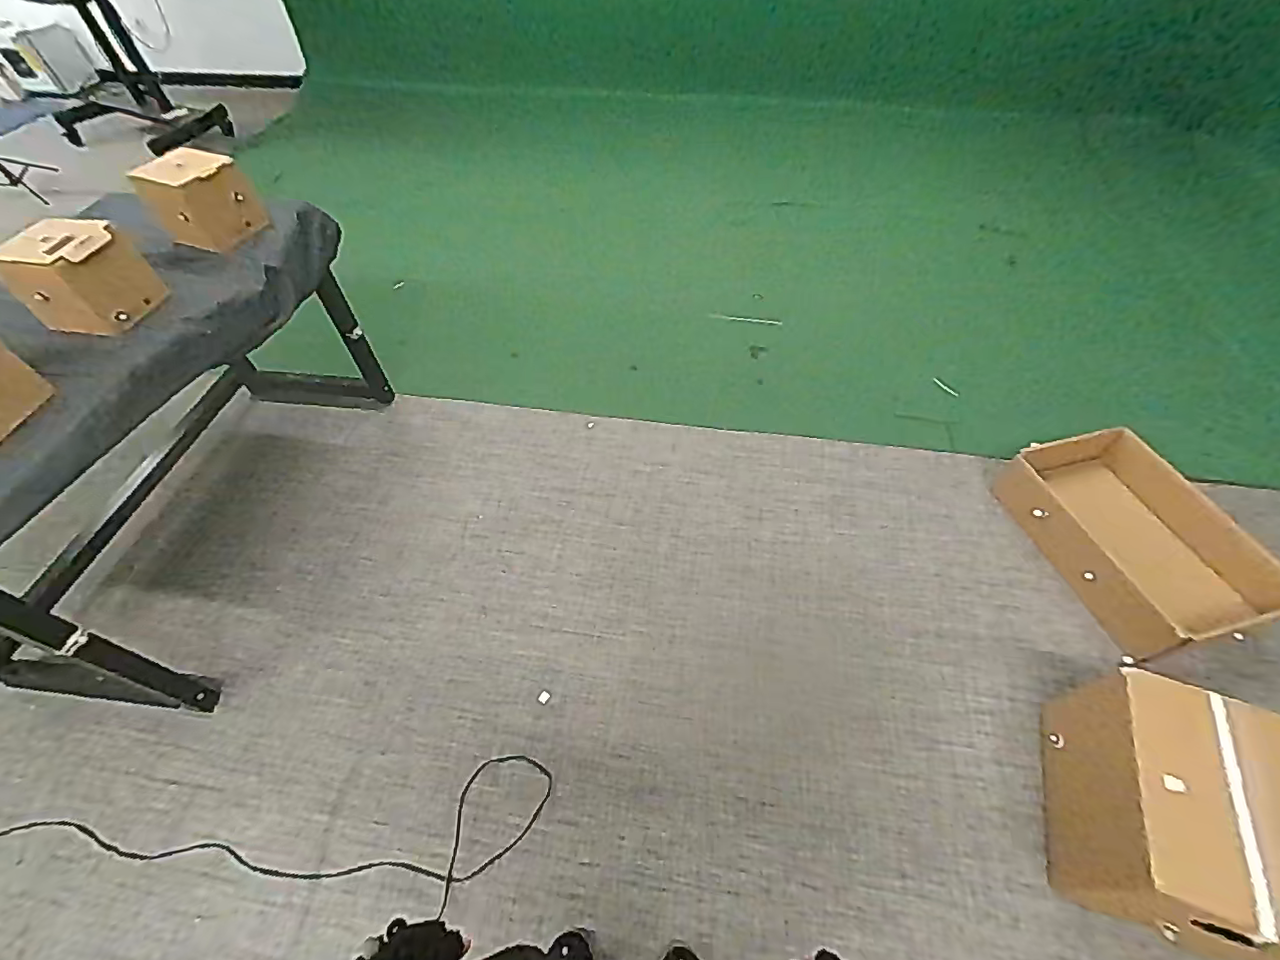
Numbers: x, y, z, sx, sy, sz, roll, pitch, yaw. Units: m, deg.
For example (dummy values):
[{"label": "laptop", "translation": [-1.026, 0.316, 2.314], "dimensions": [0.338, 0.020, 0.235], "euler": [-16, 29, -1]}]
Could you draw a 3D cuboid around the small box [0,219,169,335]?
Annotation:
[{"label": "small box", "translation": [-1.180, -0.429, 1.152], "dimensions": [0.179, 0.176, 0.168], "euler": [7, 53, 8]}]

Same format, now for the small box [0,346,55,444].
[{"label": "small box", "translation": [-1.218, -0.160, 0.947], "dimensions": [0.168, 0.176, 0.179], "euler": [3, 53, 6]}]

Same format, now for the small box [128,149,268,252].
[{"label": "small box", "translation": [-1.093, -0.697, 1.355], "dimensions": [0.179, 0.176, 0.168], "euler": [16, 54, 15]}]
